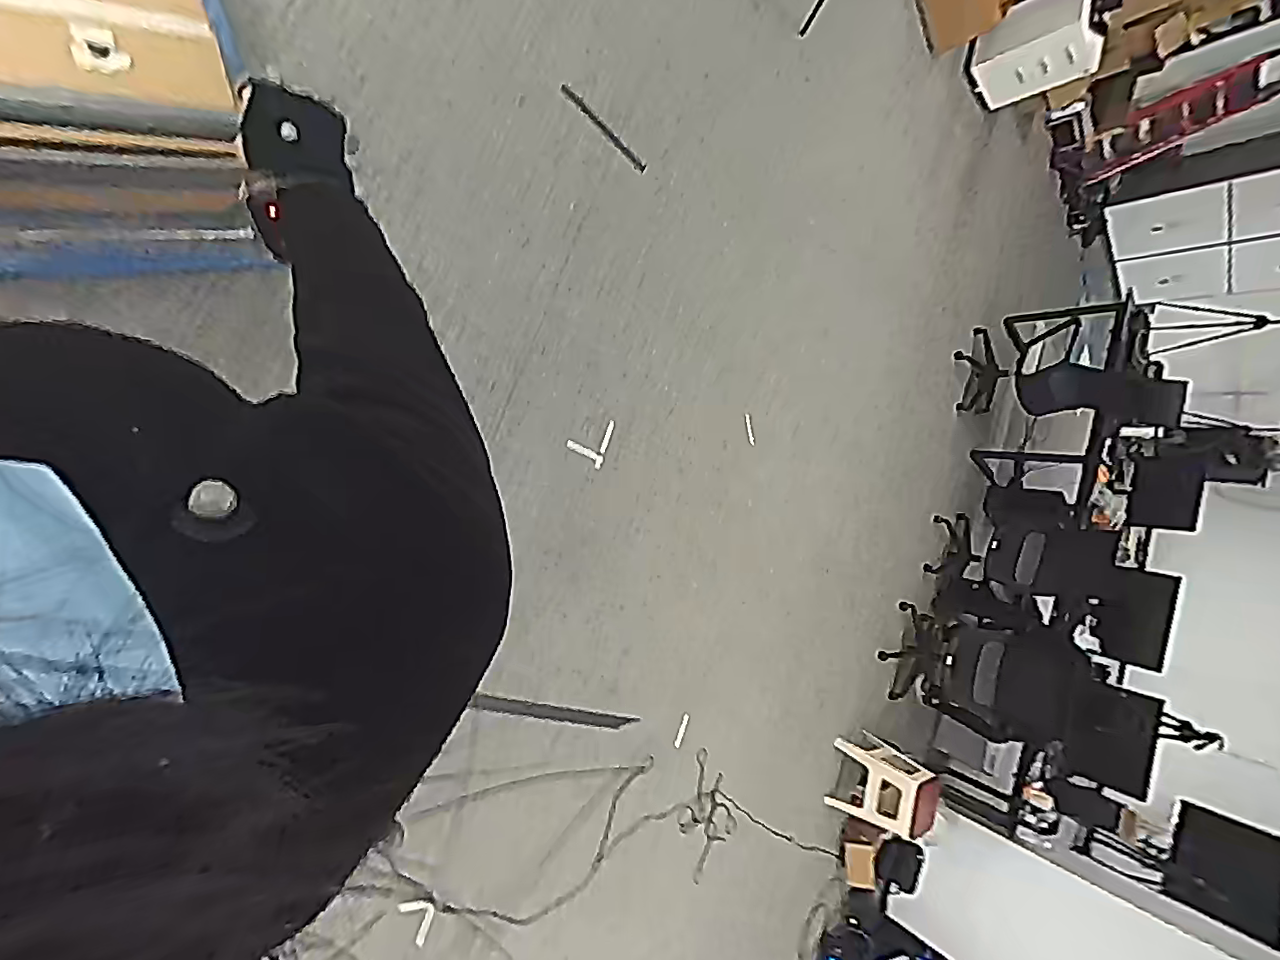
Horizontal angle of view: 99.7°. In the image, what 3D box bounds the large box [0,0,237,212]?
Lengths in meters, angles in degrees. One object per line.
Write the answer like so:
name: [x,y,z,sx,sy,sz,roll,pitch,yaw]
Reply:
large box: [-0.874,-0.588,0.765,0.408,0.320,0.320,-21,109,-39]
